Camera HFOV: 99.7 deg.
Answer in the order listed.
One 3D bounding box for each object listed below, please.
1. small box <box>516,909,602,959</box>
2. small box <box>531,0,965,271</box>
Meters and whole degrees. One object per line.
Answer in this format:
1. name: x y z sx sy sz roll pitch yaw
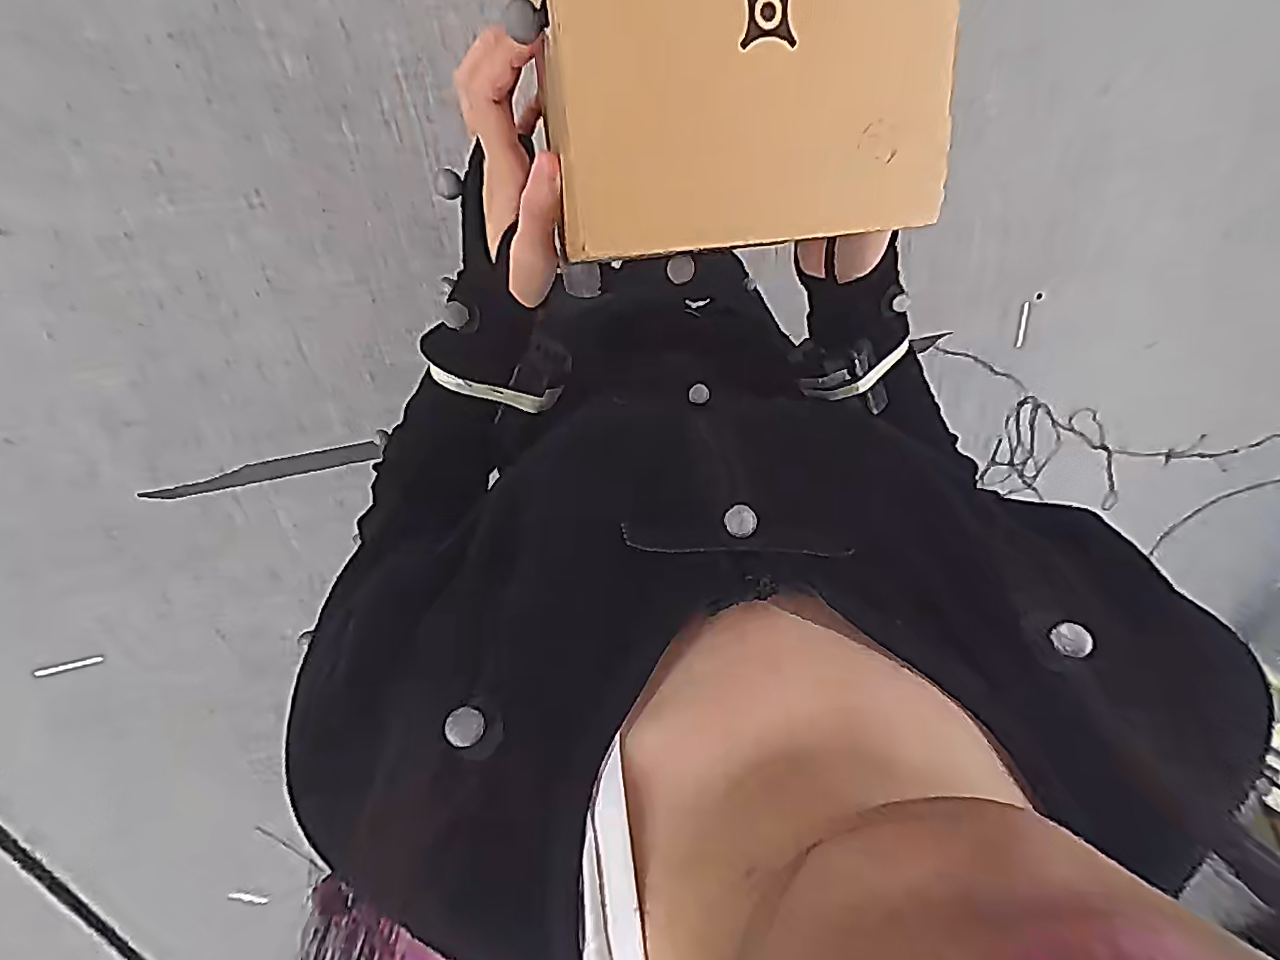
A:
1. small box: -0.156 1.027 1.098 0.168 0.176 0.179 -8 116 -13
2. small box: 0.035 -0.208 0.280 0.168 0.176 0.179 -9 111 -8
